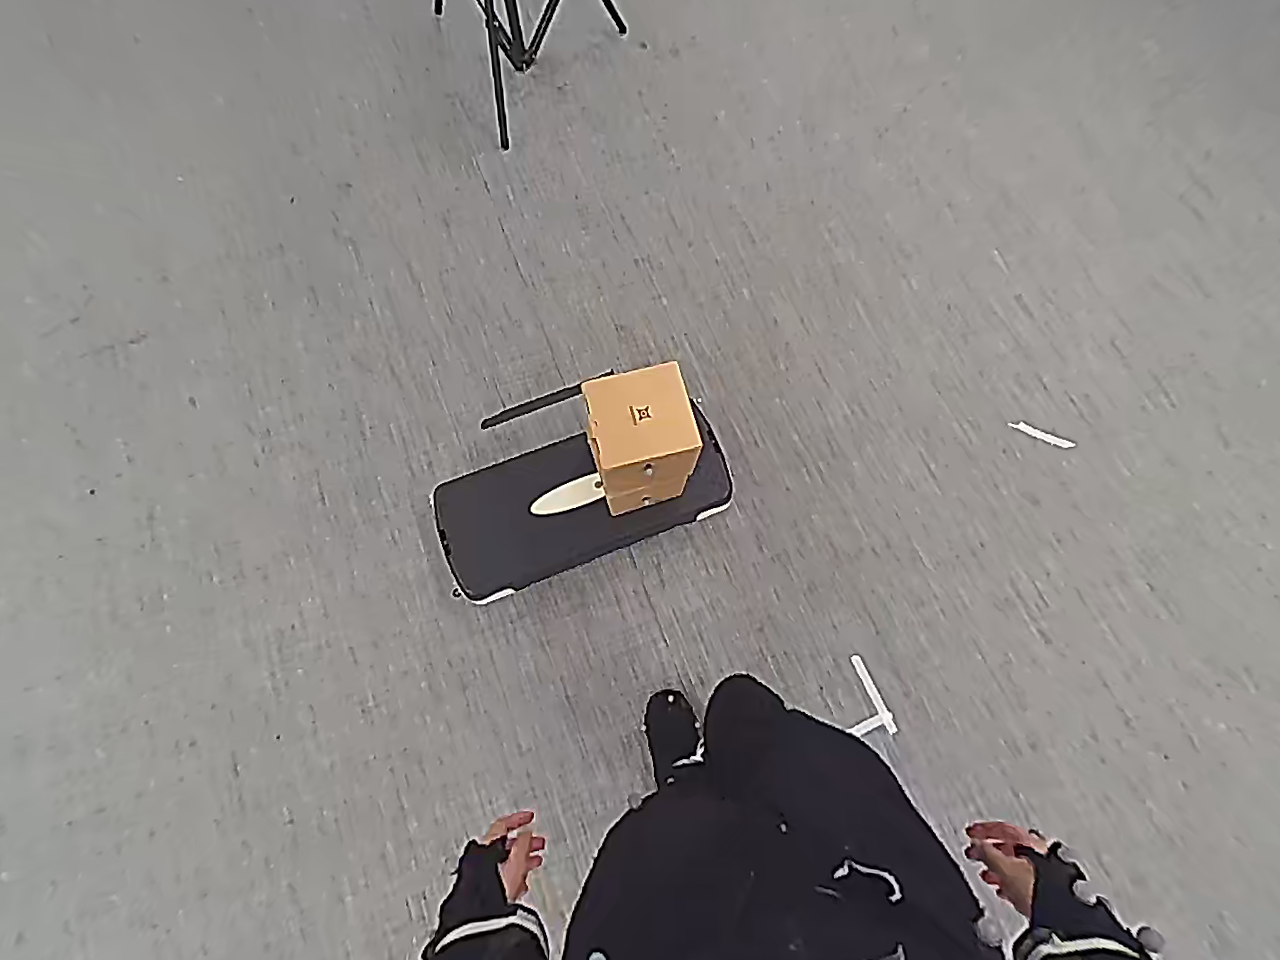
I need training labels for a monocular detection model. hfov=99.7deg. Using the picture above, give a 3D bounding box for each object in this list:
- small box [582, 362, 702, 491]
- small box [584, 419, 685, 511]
[{"bbox_3d":[0.000,-0.091,0.994,0.179,0.176,0.168,-14,75,-4],"label":"small box"},{"bbox_3d":[-0.012,-0.043,1.150,0.168,0.176,0.179,-17,75,-5],"label":"small box"}]
